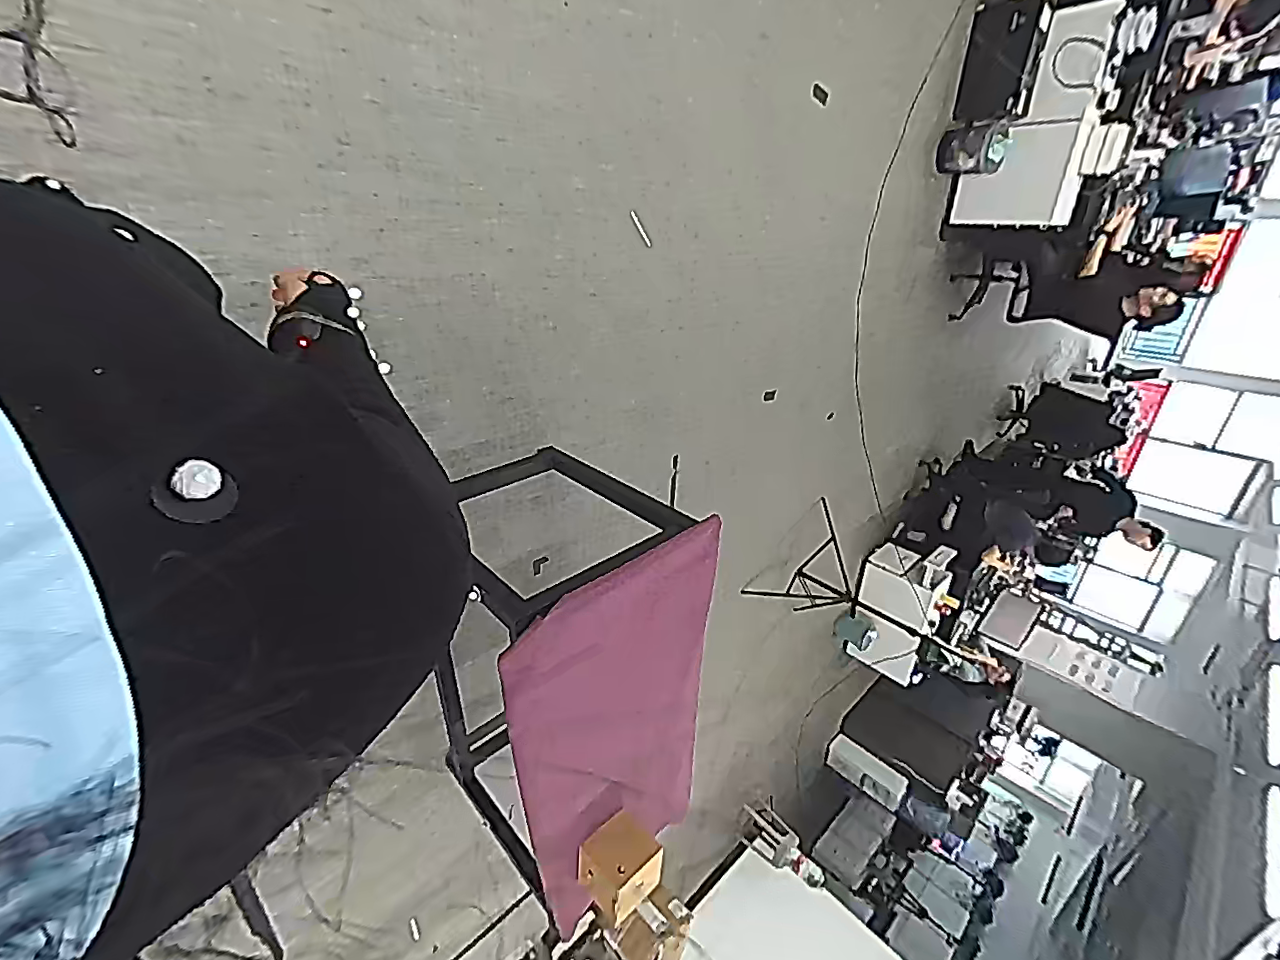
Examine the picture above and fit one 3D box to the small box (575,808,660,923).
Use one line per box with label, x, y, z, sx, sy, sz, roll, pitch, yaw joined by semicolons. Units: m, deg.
small box;-0.067;1.103;1.565;0.179;0.176;0.168;-18;121;-42
